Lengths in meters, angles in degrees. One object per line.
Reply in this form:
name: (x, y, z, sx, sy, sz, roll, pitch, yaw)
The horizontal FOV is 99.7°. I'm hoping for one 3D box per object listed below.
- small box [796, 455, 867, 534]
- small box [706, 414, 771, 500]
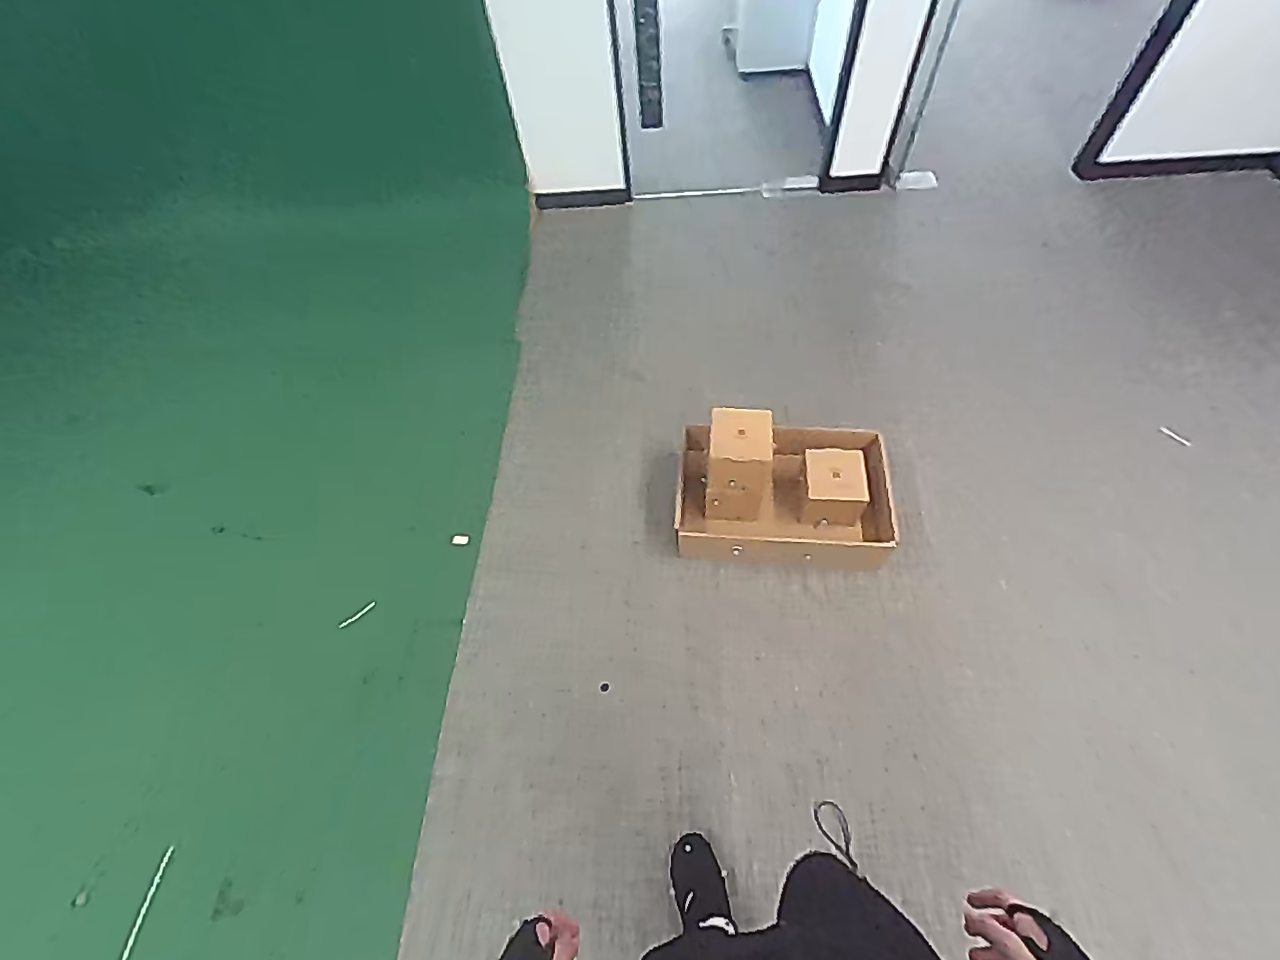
small box: (0.570, 0.043, 1.631, 0.168, 0.176, 0.179, 2, 58, 7)
small box: (0.275, -0.063, 1.530, 0.168, 0.176, 0.179, 3, 57, 6)
